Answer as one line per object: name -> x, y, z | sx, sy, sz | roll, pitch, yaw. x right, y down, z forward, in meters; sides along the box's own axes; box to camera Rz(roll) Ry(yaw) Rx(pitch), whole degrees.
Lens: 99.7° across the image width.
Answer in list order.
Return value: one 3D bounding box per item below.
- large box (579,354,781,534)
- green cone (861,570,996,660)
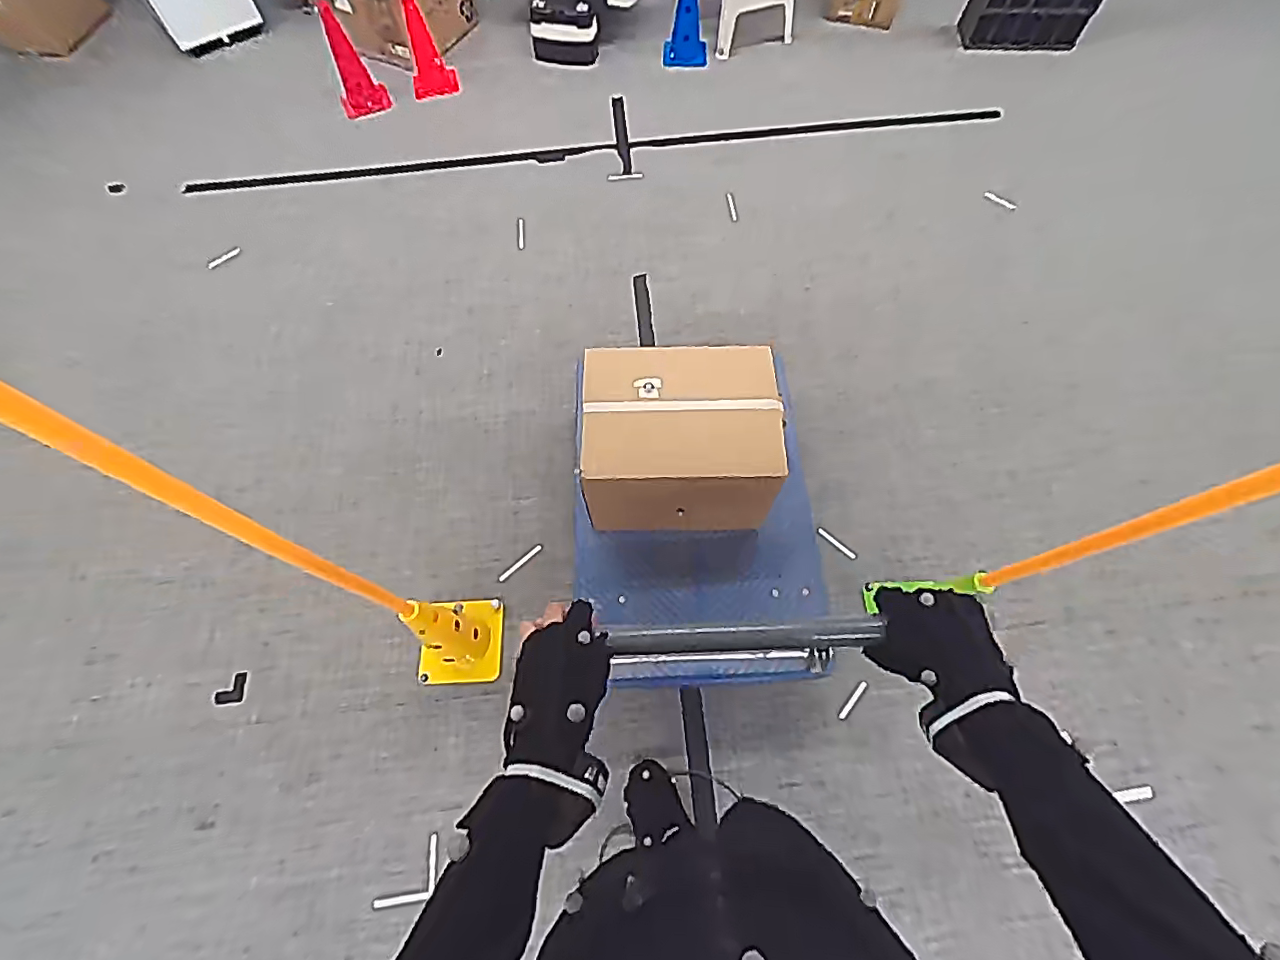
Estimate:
large box -> 0.082, -0.069, 1.252 | 0.408, 0.320, 0.320 | -1, 65, 1
green cone -> 0.680, 0.280, 1.227 | 0.202, 0.368, 0.200 | -2, 64, -1
